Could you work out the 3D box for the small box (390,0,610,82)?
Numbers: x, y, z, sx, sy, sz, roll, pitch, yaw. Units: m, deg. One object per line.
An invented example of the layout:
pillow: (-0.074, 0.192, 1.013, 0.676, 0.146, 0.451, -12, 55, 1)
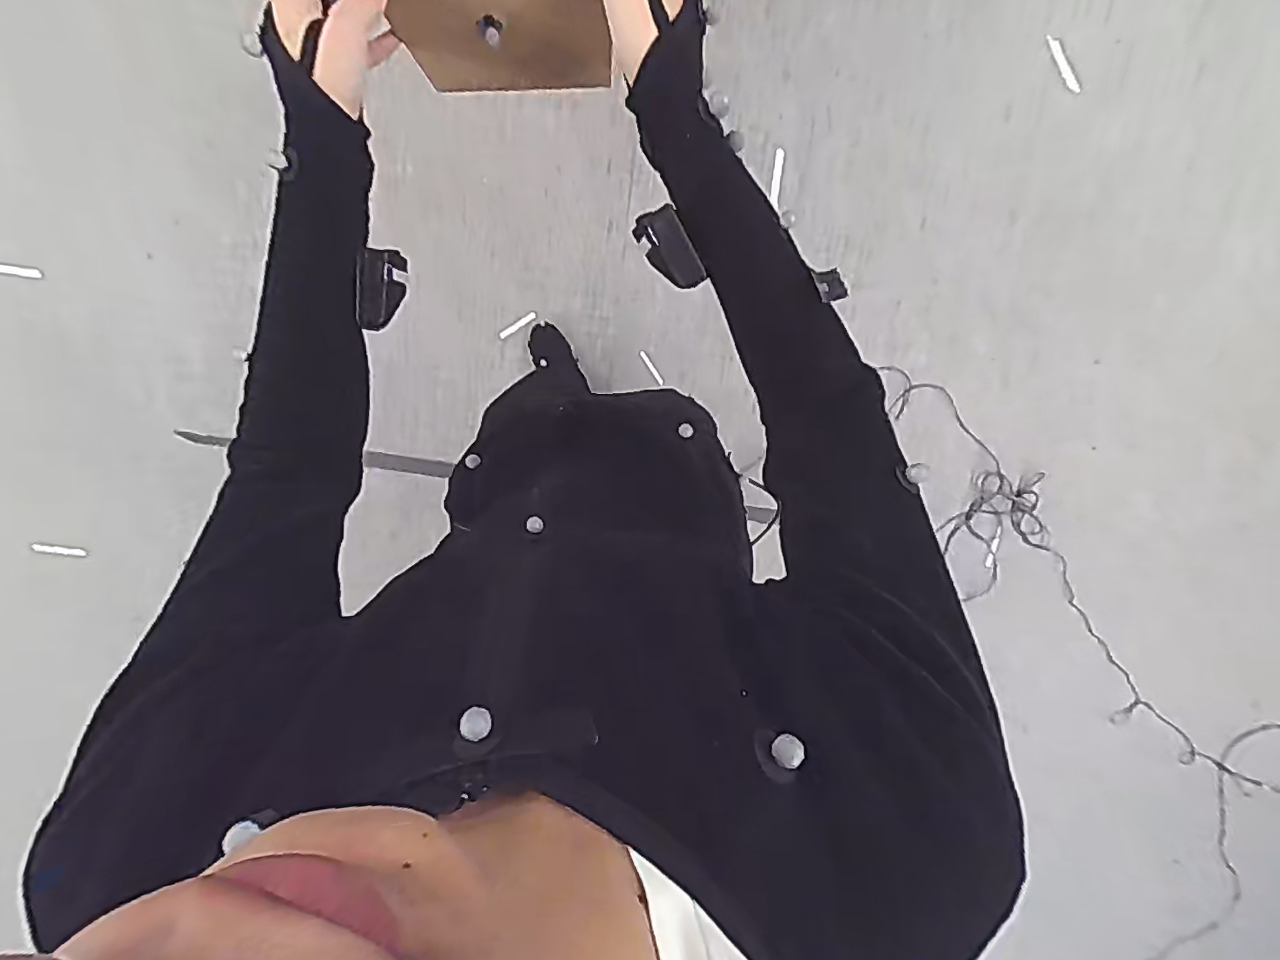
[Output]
small box: (-0.113, -0.443, 0.427, 0.179, 0.176, 0.168, -3, 106, -4)
